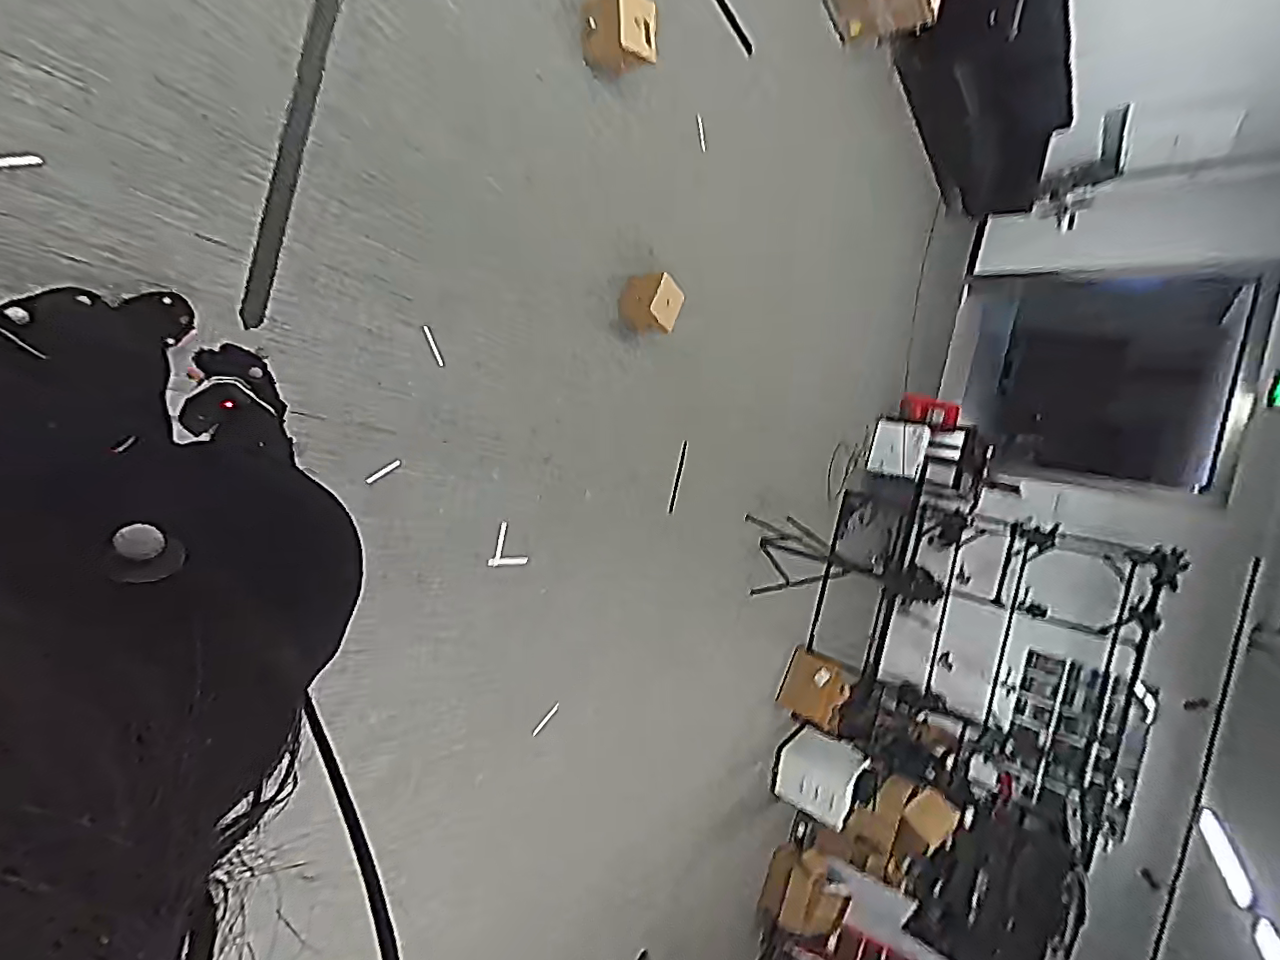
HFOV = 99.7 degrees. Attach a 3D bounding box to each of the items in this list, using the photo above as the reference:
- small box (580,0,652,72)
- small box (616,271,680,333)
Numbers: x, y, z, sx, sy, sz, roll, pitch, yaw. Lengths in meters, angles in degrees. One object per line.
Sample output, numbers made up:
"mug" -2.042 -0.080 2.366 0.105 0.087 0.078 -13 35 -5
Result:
"small box" -0.079 -1.492 1.797 0.179 0.176 0.168 -21 116 -45
"small box" 0.028 -0.713 2.175 0.168 0.176 0.179 33 75 -52
